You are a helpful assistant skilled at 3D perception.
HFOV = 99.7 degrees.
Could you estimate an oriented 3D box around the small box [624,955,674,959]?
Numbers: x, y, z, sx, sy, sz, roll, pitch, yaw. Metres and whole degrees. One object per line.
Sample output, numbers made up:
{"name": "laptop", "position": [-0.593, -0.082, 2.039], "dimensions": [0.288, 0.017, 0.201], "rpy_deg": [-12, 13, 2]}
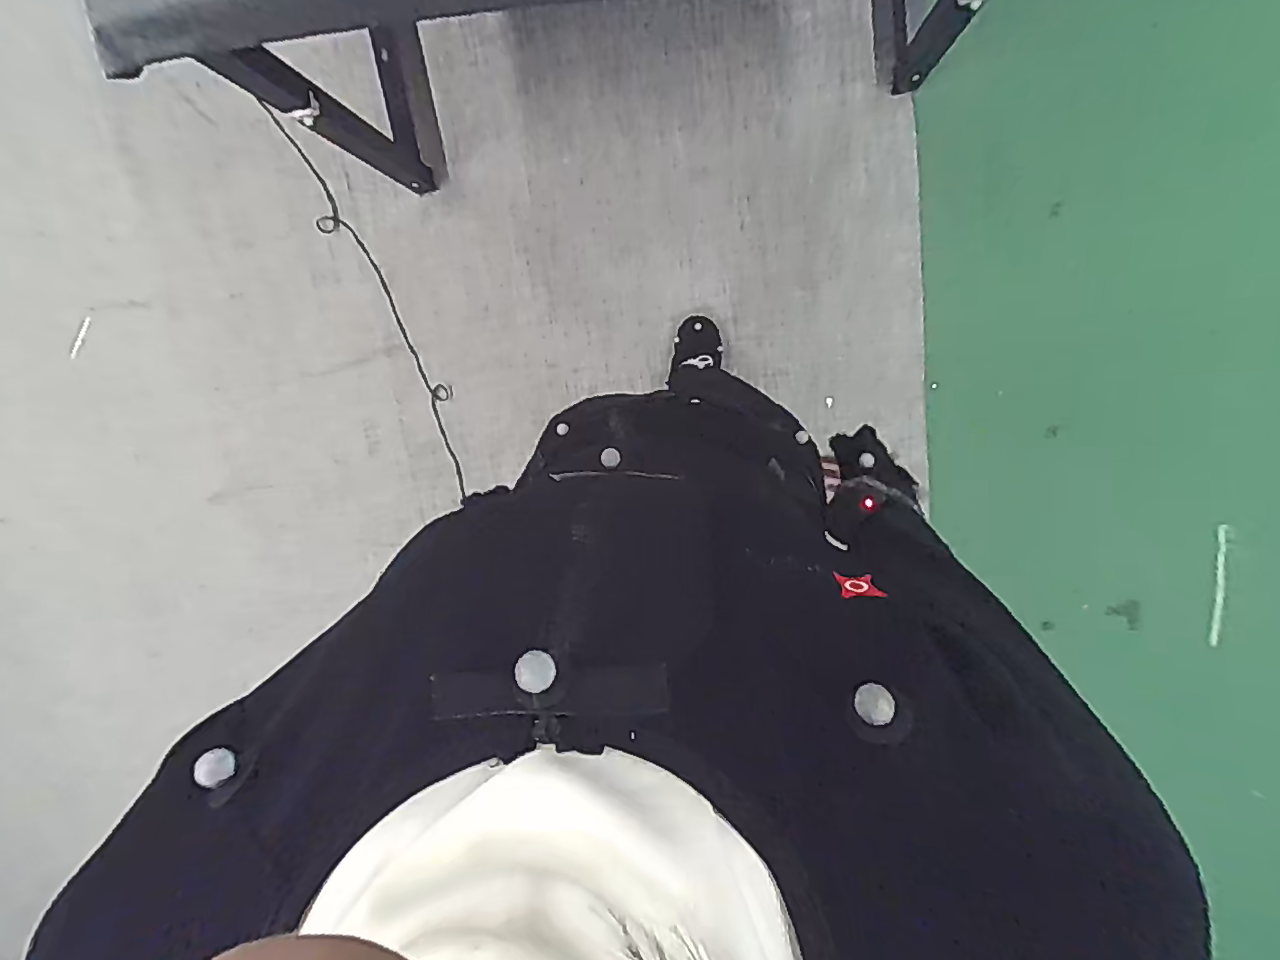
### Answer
{"name": "small box", "position": [0.032, 1.664, 1.721], "dimensions": [0.179, 0.176, 0.168], "rpy_deg": [-4, 102, 8]}
